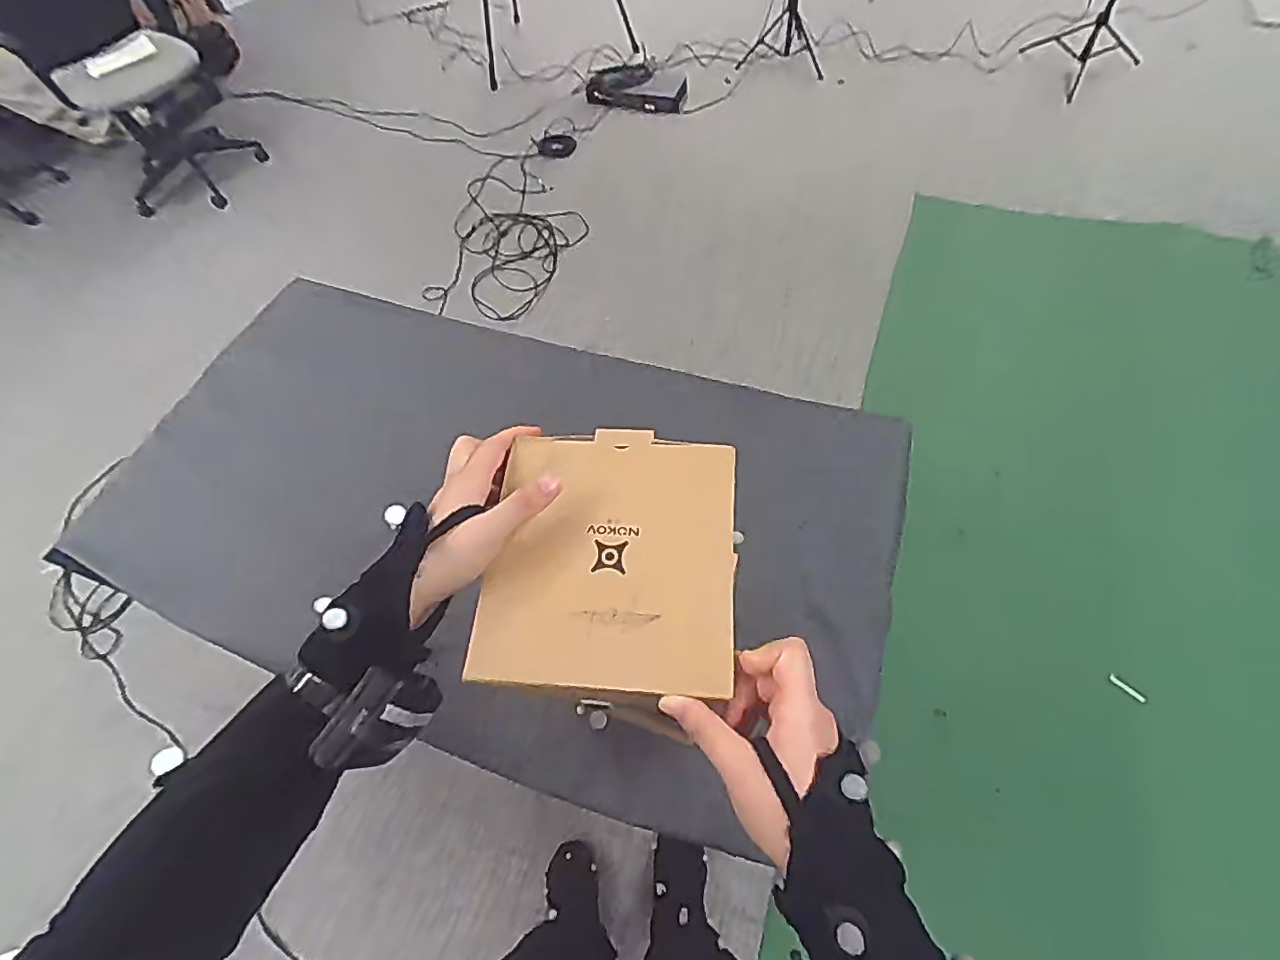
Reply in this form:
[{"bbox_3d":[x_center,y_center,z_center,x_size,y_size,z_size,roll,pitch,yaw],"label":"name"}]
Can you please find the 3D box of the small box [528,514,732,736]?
[{"bbox_3d":[0.001,0.169,0.612,0.168,0.176,0.179,15,60,14],"label":"small box"}]
